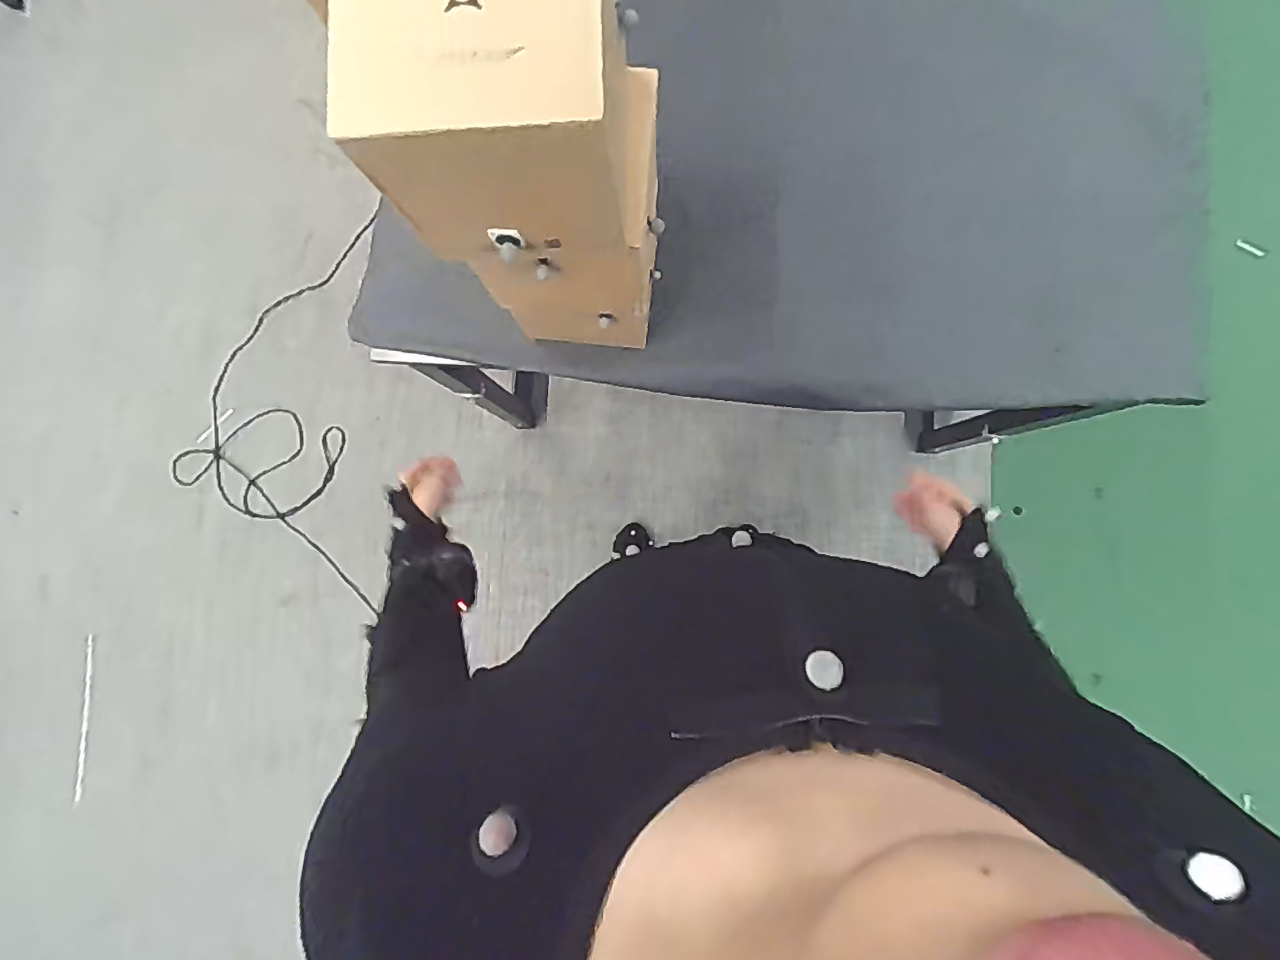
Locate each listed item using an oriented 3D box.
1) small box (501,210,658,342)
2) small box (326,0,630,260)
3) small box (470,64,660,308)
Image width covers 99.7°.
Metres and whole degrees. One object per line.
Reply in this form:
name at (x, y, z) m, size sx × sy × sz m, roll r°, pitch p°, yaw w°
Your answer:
small box at (-0.070, -0.291, 0.720) m, size 0.179 × 0.176 × 0.168 m, roll 6°, pitch 87°, yaw 4°
small box at (-0.098, -0.286, 0.396) m, size 0.168 × 0.176 × 0.179 m, roll -2°, pitch 88°, yaw 5°
small box at (-0.073, -0.287, 0.557) m, size 0.179 × 0.176 × 0.168 m, roll 5°, pitch 87°, yaw 4°
